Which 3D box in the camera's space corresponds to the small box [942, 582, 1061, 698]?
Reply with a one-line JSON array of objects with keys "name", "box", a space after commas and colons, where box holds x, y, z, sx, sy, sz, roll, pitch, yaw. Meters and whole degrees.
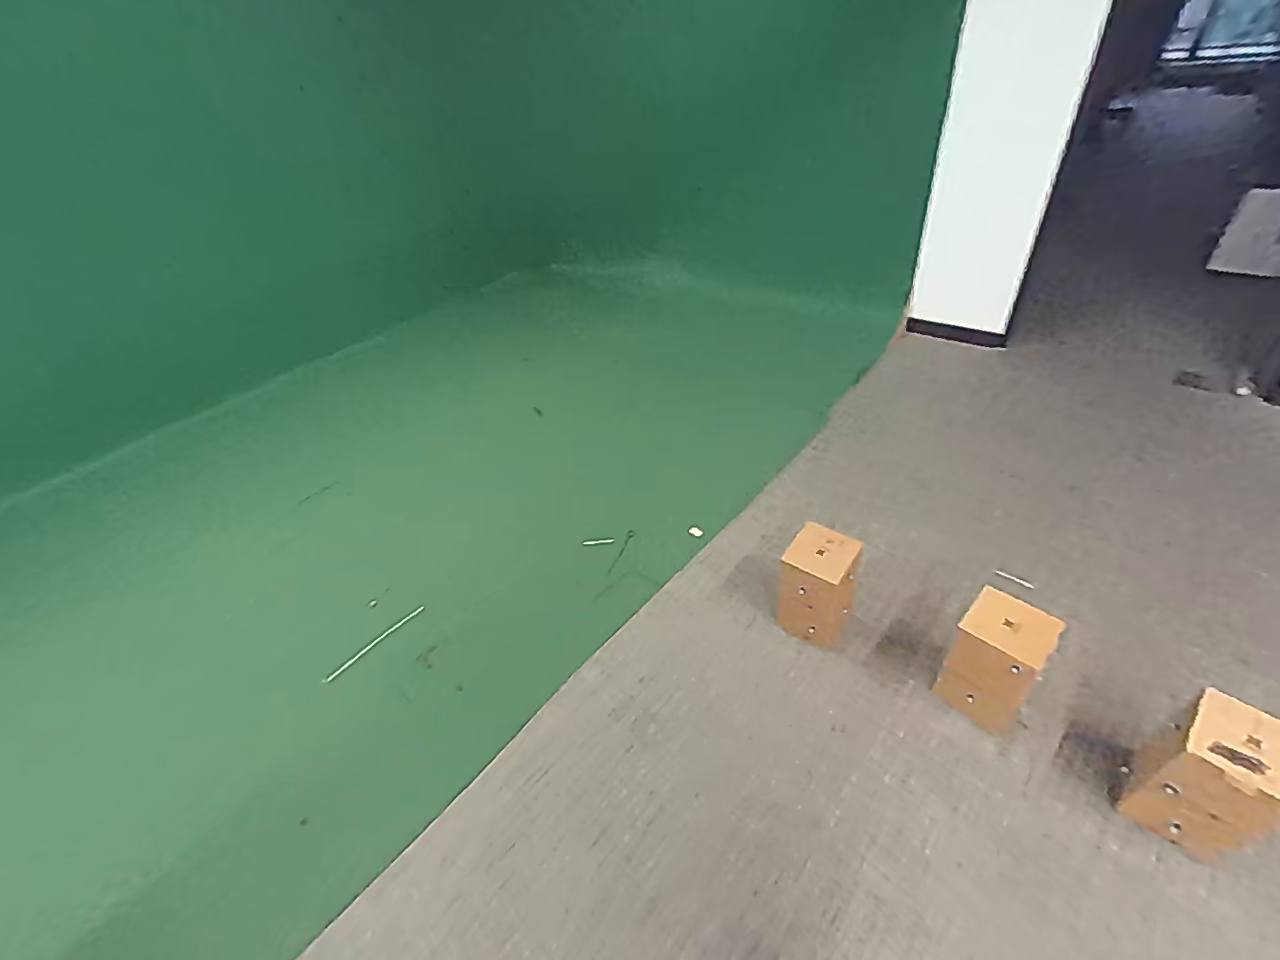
[{"name": "small box", "box": [0.868, 0.390, 1.315, 0.168, 0.176, 0.179, -37, 47, -27]}]

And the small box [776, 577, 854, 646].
[{"name": "small box", "box": [0.533, 0.372, 1.659, 0.168, 0.176, 0.179, 26, 52, 34]}]

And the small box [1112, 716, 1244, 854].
[{"name": "small box", "box": [1.181, 0.668, 1.182, 0.168, 0.176, 0.179, 29, 55, 36]}]

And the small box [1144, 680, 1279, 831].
[{"name": "small box", "box": [1.153, 0.547, 1.073, 0.179, 0.176, 0.168, -36, 47, -28]}]

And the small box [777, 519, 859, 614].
[{"name": "small box", "box": [0.507, 0.251, 1.551, 0.168, 0.176, 0.179, 25, 52, 32]}]
